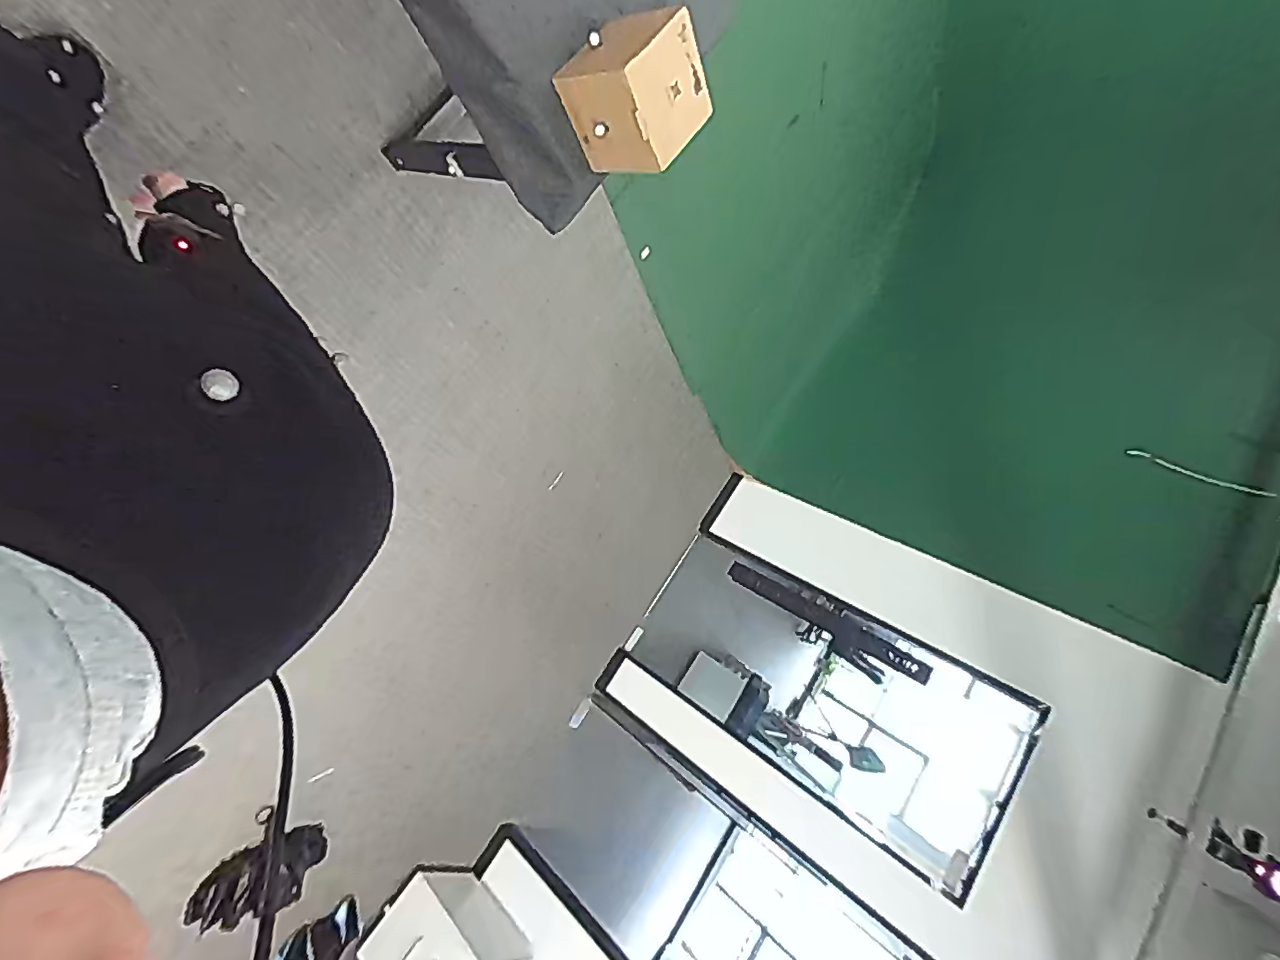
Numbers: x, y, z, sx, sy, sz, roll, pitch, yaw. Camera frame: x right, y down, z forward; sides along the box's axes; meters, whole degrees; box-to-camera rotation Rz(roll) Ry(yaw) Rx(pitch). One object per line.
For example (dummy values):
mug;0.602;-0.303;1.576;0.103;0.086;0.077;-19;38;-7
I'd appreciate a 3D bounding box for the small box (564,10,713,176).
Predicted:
small box;-0.007;-0.649;0.923;0.179;0.176;0.168;-54;143;-15
